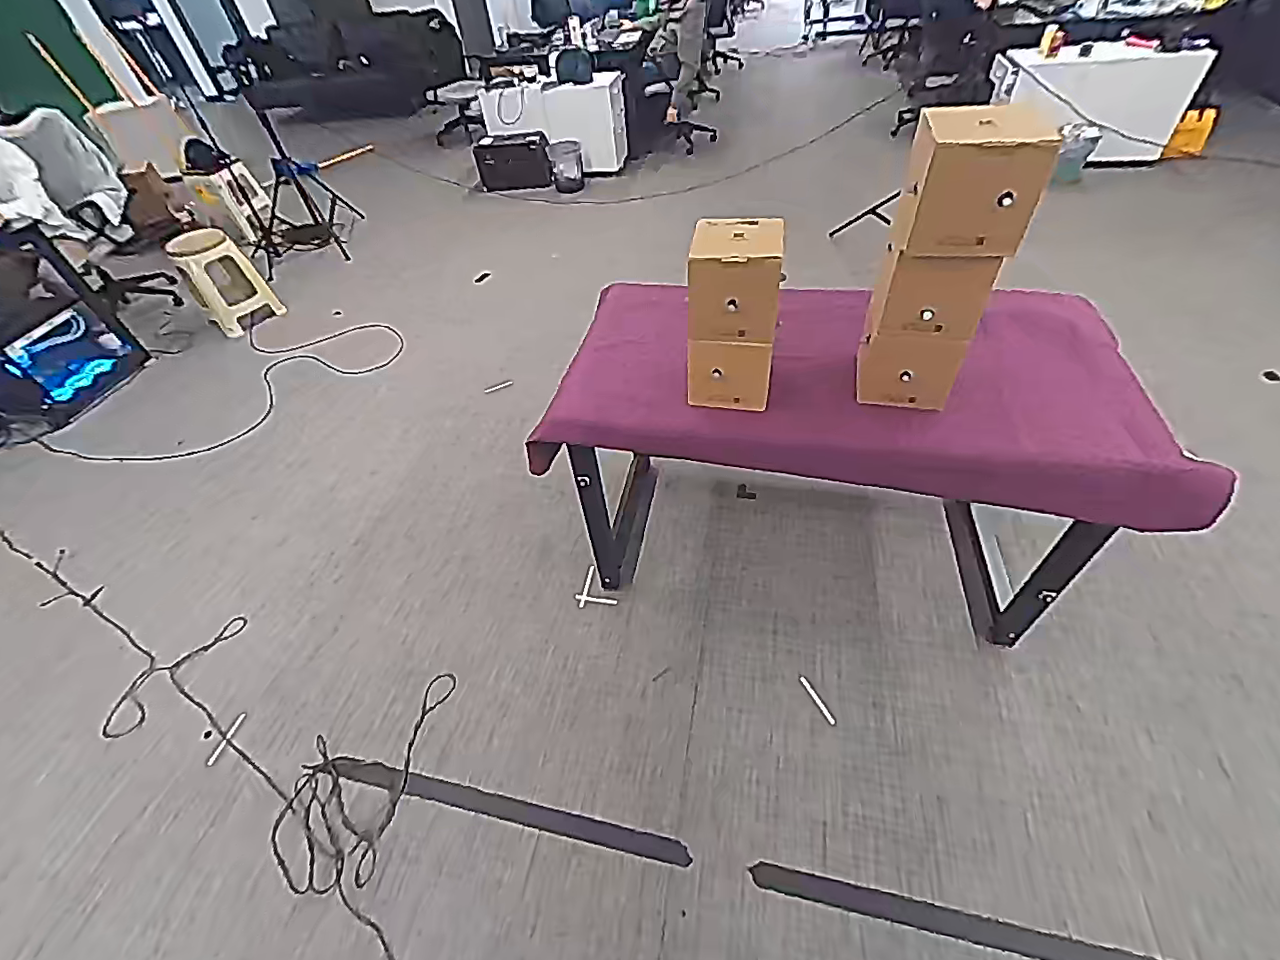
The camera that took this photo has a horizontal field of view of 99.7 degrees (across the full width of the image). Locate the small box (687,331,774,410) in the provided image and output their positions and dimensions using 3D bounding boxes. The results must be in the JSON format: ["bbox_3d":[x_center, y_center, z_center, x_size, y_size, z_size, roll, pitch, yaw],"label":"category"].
[{"bbox_3d":[0.198,-0.268,1.163,0.168,0.176,0.179,7,47,12],"label":"small box"}]

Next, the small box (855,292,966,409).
[{"bbox_3d":[0.552,-0.268,1.122,0.168,0.176,0.179,9,48,13],"label":"small box"}]

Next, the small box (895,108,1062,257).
[{"bbox_3d":[0.526,-0.475,0.871,0.168,0.176,0.179,6,48,11],"label":"small box"}]

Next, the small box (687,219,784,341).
[{"bbox_3d":[0.185,-0.385,1.049,0.168,0.176,0.179,5,48,10],"label":"small box"}]

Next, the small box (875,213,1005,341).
[{"bbox_3d":[0.542,-0.381,1.004,0.168,0.176,0.179,8,49,14],"label":"small box"}]
